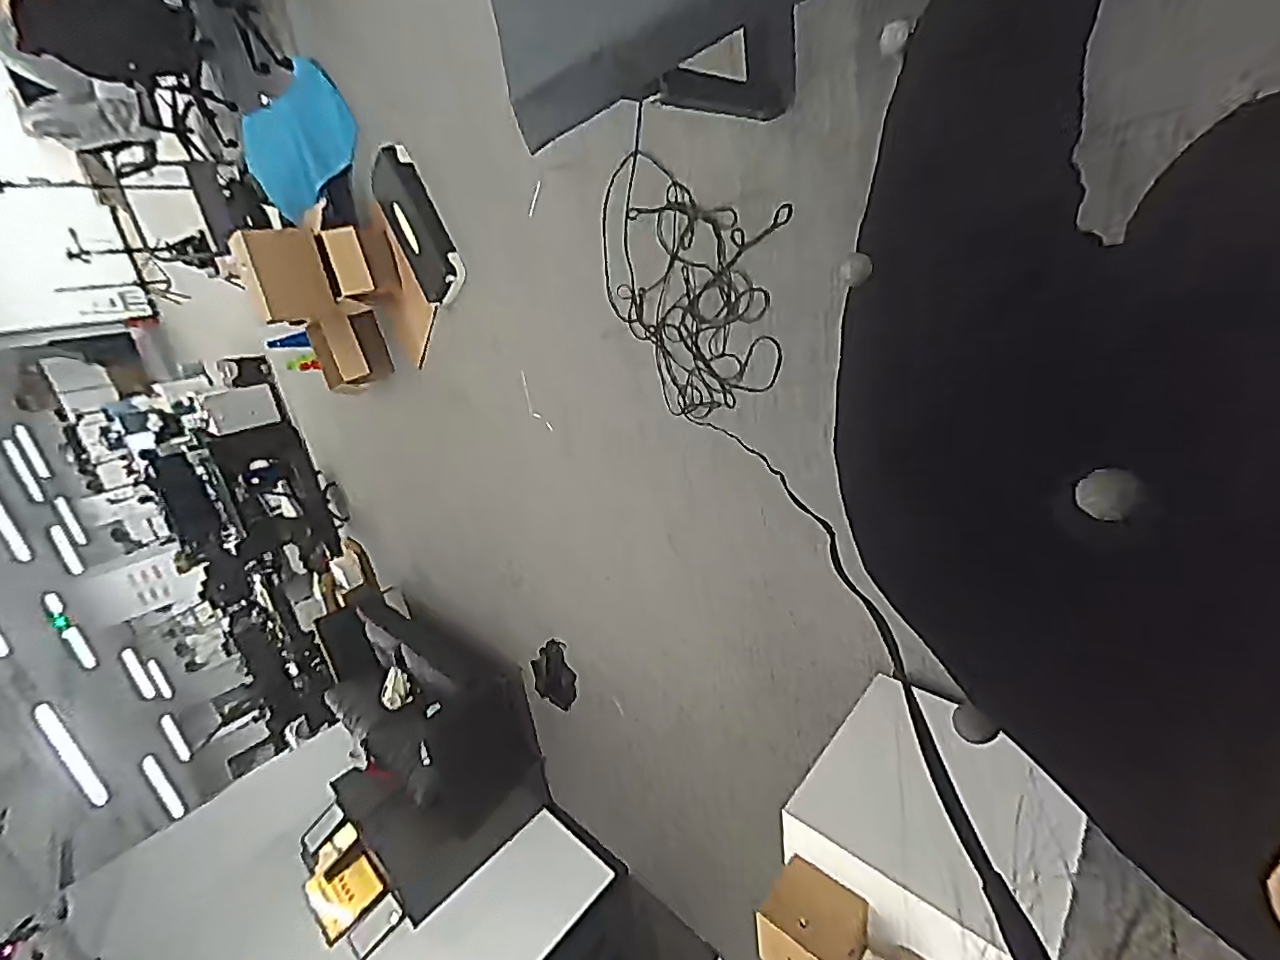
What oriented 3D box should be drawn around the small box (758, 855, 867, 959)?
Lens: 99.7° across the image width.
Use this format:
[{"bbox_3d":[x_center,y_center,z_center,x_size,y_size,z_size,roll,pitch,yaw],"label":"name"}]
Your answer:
[{"bbox_3d":[0.379,0.975,1.178,0.179,0.176,0.168,11,117,43],"label":"small box"}]
